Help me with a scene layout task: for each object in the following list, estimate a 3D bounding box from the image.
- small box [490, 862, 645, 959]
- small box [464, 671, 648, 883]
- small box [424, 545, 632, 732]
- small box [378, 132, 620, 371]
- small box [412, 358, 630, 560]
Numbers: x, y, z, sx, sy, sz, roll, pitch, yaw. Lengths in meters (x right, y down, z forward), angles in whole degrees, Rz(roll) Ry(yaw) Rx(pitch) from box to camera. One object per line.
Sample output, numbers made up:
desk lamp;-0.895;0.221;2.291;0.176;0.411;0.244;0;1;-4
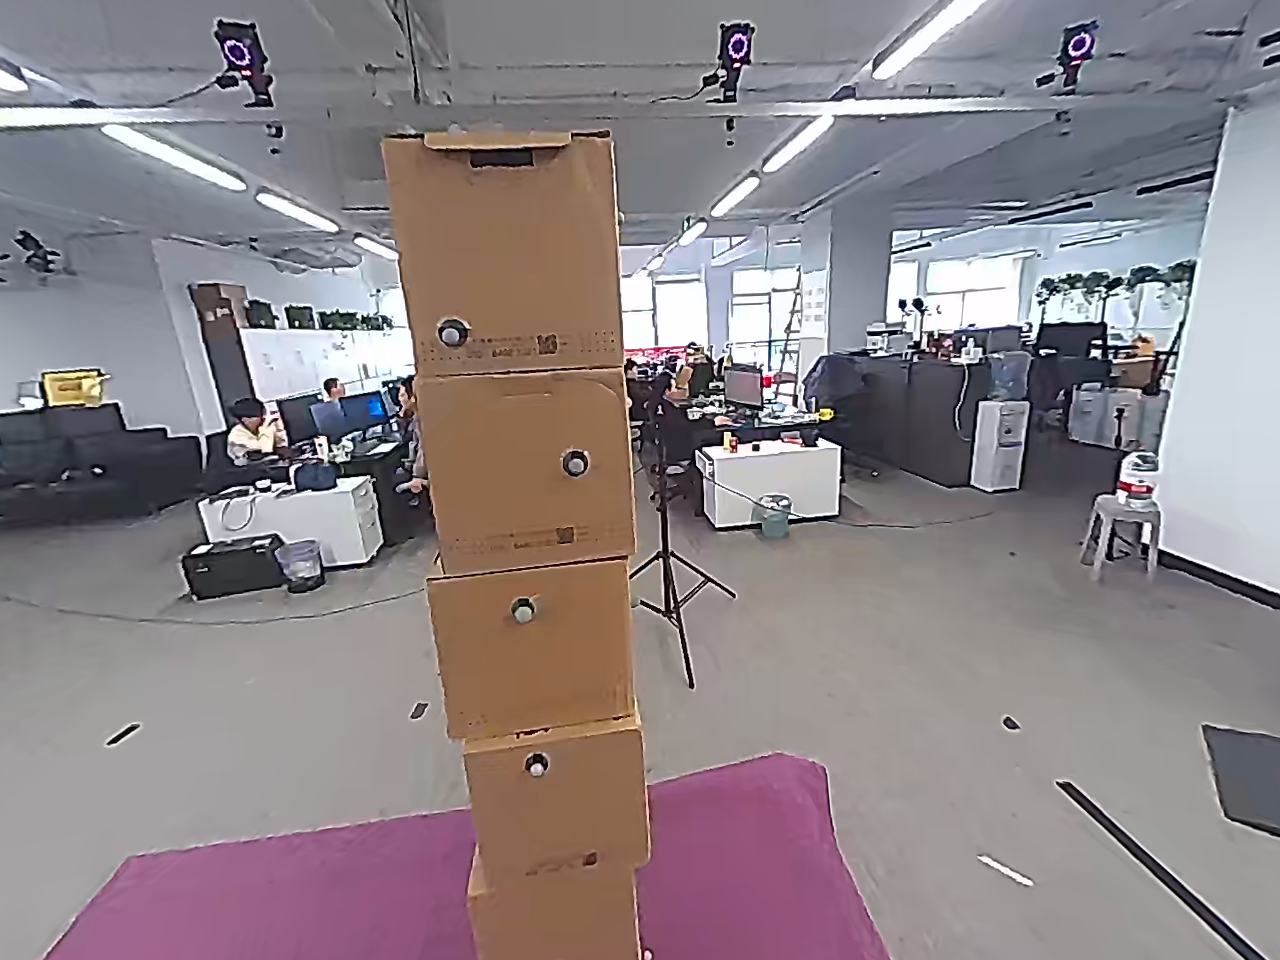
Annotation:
small box;-0.086;0.605;0.681;0.179;0.176;0.168;-6;15;-6
small box;-0.086;0.289;0.596;0.168;0.176;0.179;-6;15;-7
small box;-0.104;0.130;0.563;0.179;0.176;0.168;-6;16;-7
small box;-0.111;-0.188;0.488;0.168;0.176;0.179;-5;15;-7
small box;-0.105;-0.028;0.524;0.168;0.176;0.179;-5;15;-9
